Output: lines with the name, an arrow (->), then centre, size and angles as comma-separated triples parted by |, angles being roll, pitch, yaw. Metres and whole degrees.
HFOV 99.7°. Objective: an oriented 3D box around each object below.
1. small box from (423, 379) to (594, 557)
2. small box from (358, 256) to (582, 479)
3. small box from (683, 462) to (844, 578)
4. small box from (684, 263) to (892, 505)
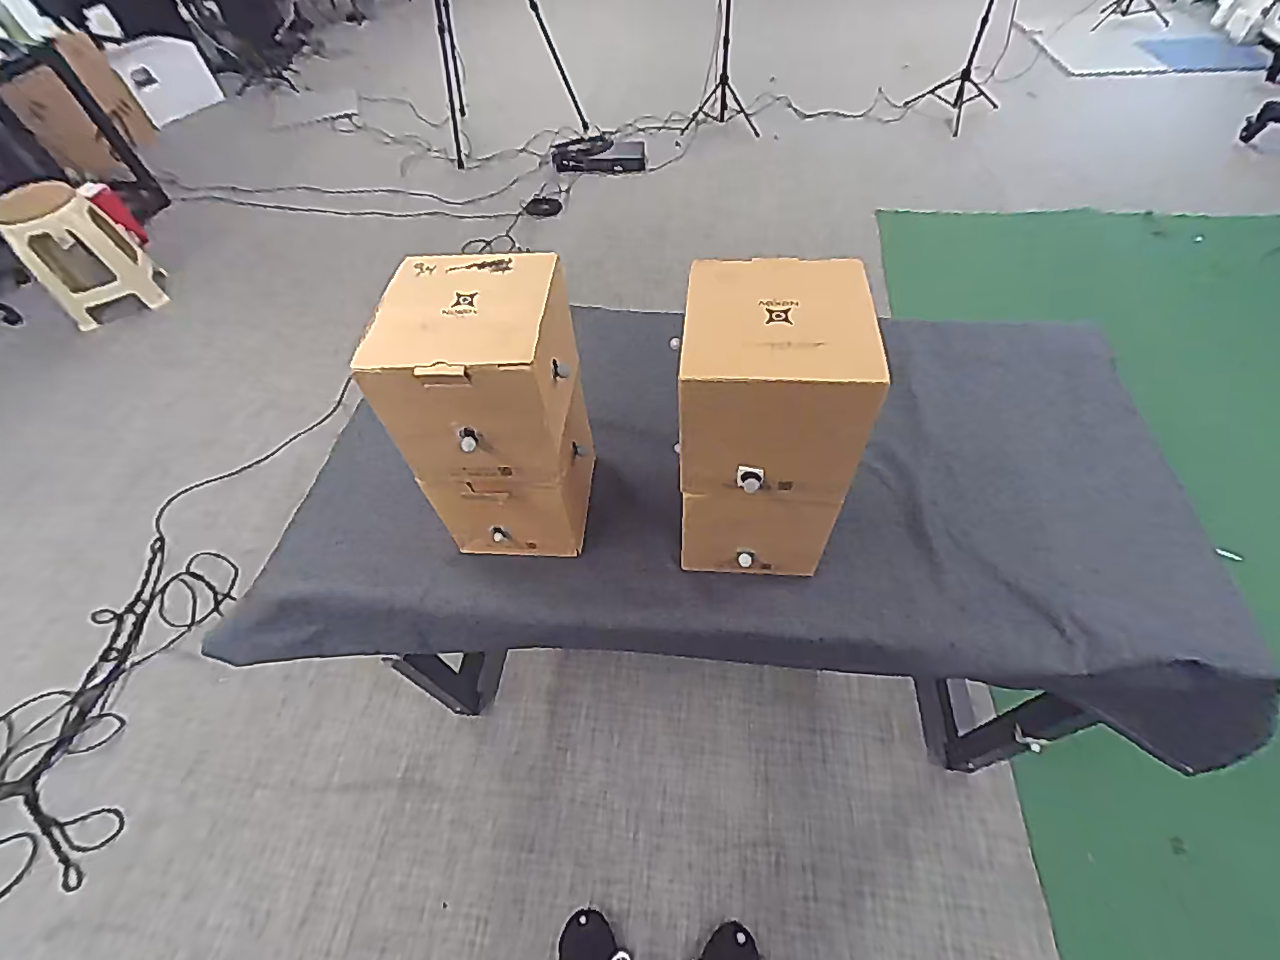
small box -> -0.156, -0.018, 0.713 | 0.168, 0.176, 0.179 | 1, 53, 4
small box -> -0.160, -0.114, 0.580 | 0.168, 0.176, 0.179 | 0, 54, 4
small box -> 0.141, 0.002, 0.673 | 0.168, 0.176, 0.179 | 2, 53, 6
small box -> 0.131, -0.096, 0.544 | 0.168, 0.176, 0.179 | 2, 53, 7
